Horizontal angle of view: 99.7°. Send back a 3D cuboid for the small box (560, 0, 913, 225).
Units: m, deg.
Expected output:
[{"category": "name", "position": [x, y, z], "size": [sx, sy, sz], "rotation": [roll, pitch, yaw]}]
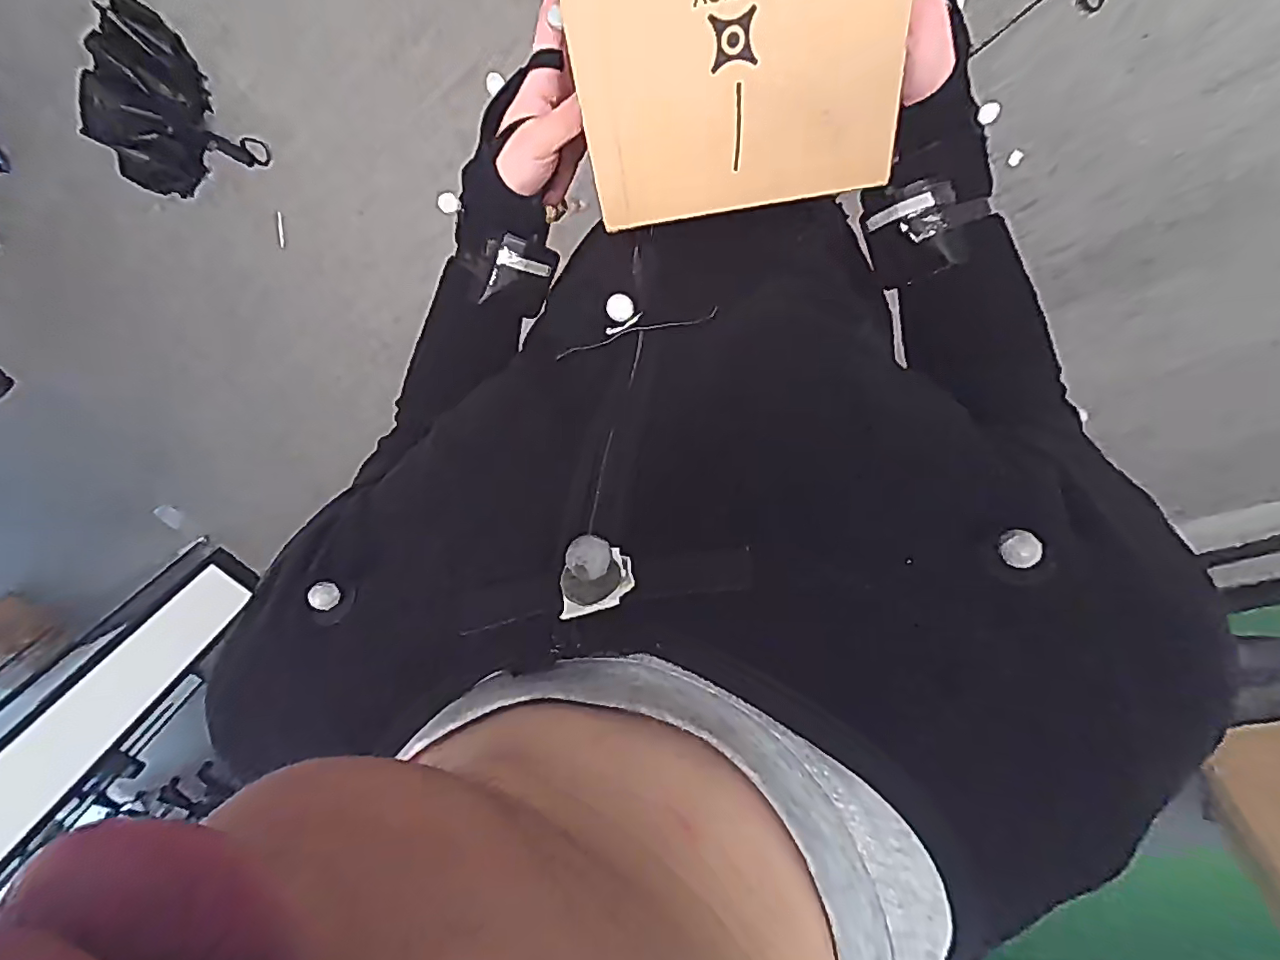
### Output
[{"category": "small box", "position": [0.047, -0.276, 0.313], "size": [0.168, 0.176, 0.179], "rotation": [-5, 134, 8]}]
